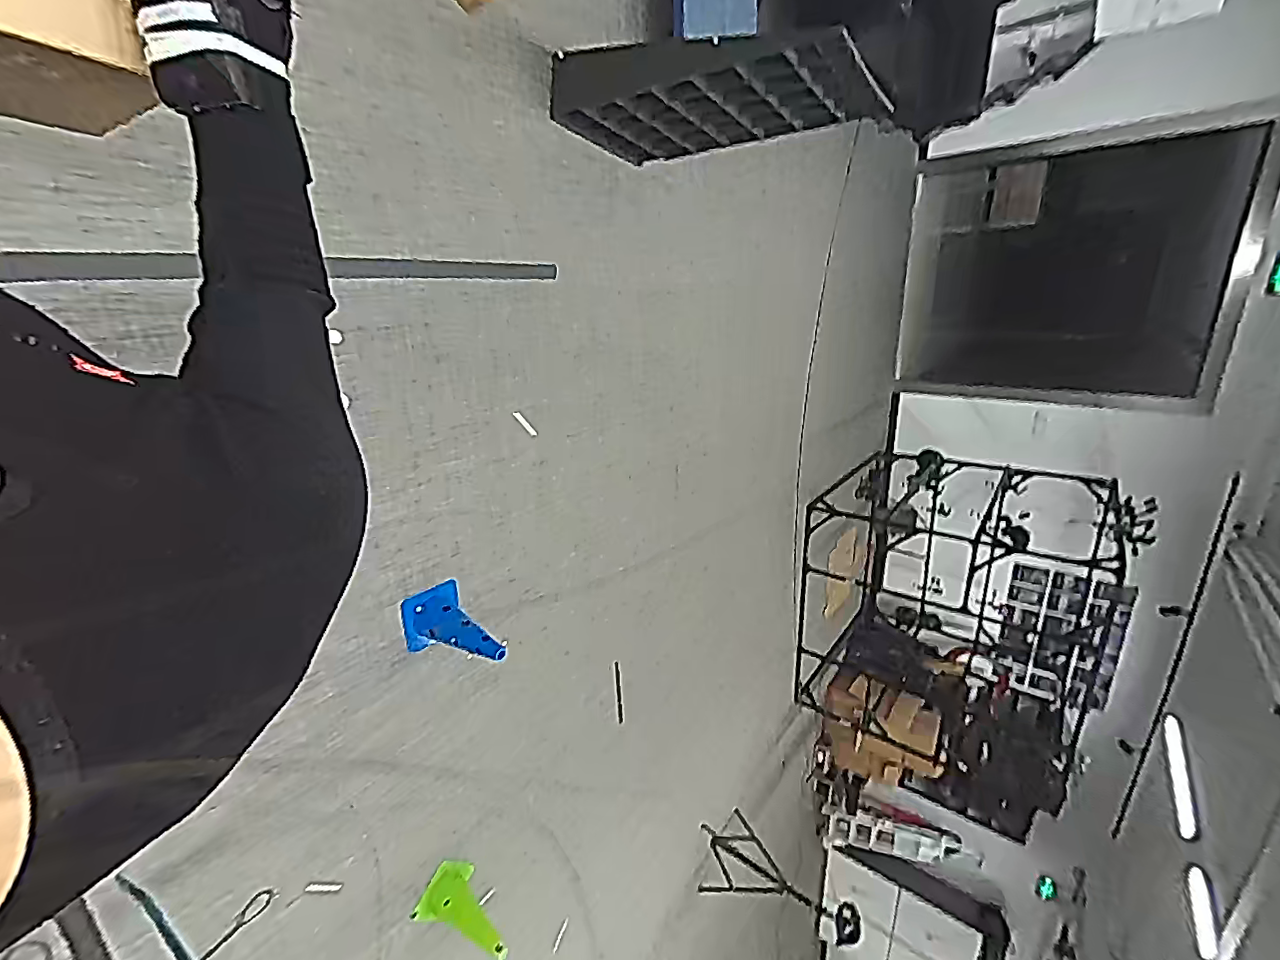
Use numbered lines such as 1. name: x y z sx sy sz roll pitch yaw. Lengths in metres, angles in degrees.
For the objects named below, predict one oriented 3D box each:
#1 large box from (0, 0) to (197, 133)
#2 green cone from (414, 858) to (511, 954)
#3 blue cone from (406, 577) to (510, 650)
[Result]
1. large box: -0.542 -0.424 0.273 0.408 0.320 0.320 -16 118 -51
2. green cone: -0.597 1.568 1.938 0.202 0.368 0.200 -61 142 -24
3. blue cone: -0.555 0.462 1.702 0.192 0.380 0.193 -21 116 -50
